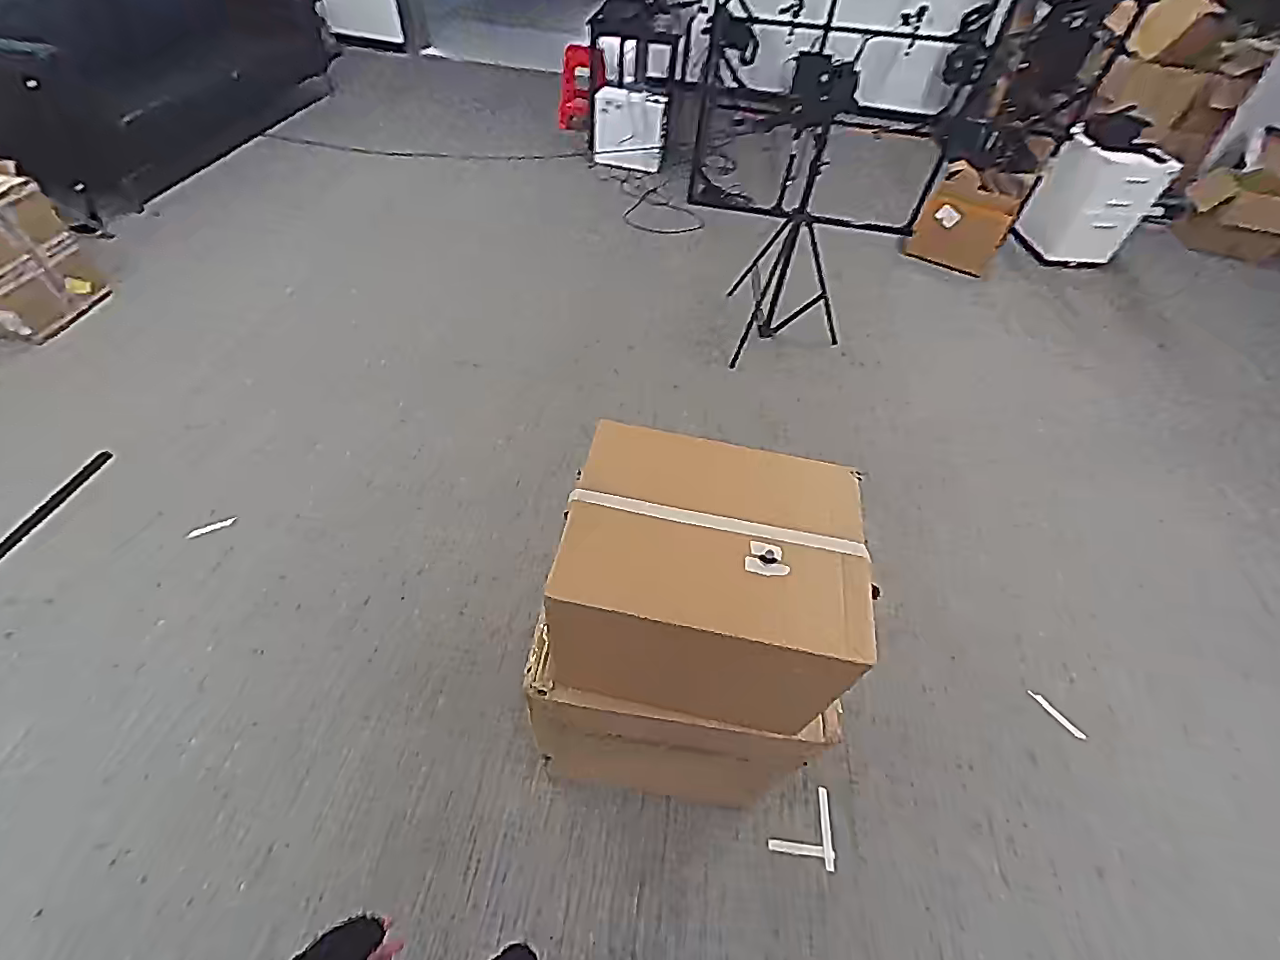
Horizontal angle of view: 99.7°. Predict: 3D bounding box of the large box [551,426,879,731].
[{"bbox_3d":[0.094,0.158,0.844,0.408,0.320,0.320,11,51,2],"label":"large box"}]
